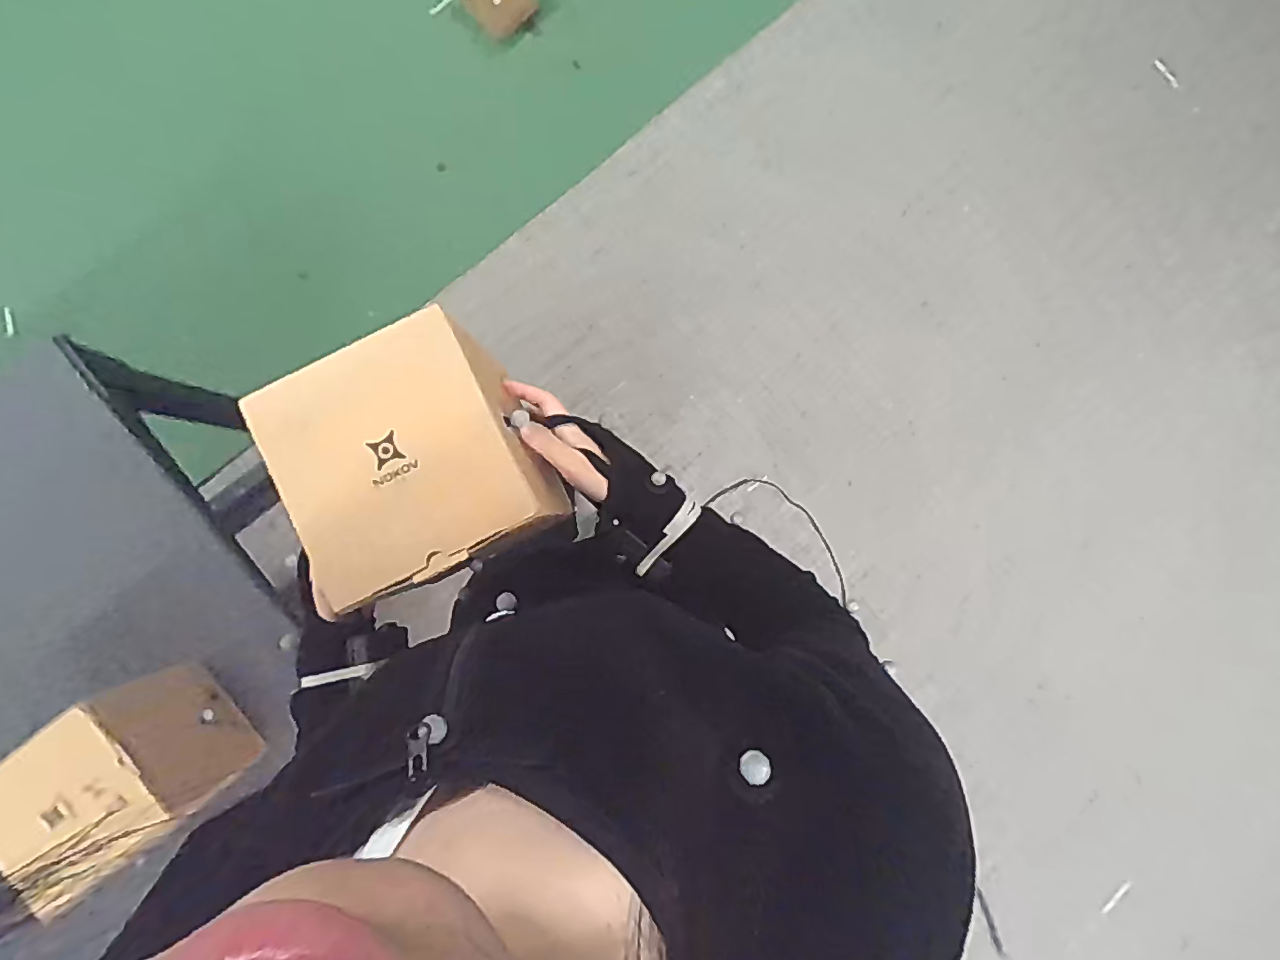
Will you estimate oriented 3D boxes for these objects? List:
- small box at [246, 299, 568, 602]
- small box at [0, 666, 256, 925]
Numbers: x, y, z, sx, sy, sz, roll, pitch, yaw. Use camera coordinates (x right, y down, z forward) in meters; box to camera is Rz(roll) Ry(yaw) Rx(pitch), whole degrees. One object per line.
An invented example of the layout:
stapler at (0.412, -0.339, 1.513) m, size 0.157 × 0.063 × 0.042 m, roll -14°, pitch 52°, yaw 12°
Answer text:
small box at (-0.177, -0.018, 0.468) m, size 0.168 × 0.176 × 0.179 m, roll -25°, pitch 88°, yaw -1°
small box at (-0.633, 0.364, 0.661) m, size 0.179 × 0.176 × 0.168 m, roll -40°, pitch 91°, yaw -3°
